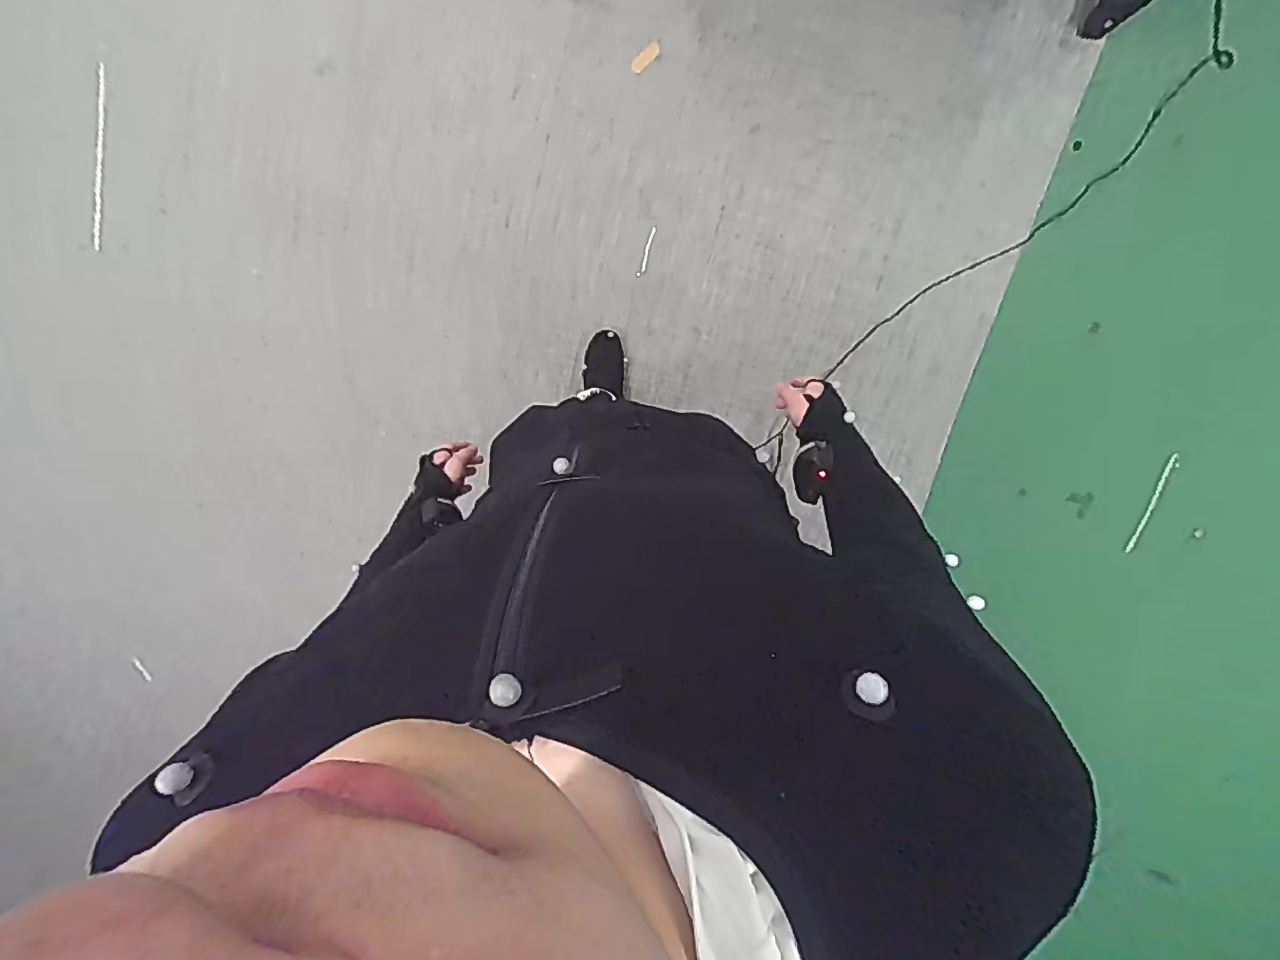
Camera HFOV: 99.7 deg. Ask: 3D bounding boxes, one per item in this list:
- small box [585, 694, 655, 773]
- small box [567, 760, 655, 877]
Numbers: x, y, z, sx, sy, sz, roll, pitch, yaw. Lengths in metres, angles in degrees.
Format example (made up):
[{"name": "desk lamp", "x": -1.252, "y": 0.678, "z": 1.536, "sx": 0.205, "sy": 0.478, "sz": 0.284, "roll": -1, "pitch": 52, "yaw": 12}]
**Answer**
[{"name": "small box", "x": -0.060, "y": 0.816, "z": 1.725, "sx": 0.179, "sy": 0.176, "sz": 0.168, "roll": 20, "pitch": 102, "yaw": -2}, {"name": "small box", "x": -0.069, "y": 0.867, "z": 1.401, "sx": 0.179, "sy": 0.176, "sz": 0.168, "roll": 22, "pitch": 101, "yaw": -2}]
